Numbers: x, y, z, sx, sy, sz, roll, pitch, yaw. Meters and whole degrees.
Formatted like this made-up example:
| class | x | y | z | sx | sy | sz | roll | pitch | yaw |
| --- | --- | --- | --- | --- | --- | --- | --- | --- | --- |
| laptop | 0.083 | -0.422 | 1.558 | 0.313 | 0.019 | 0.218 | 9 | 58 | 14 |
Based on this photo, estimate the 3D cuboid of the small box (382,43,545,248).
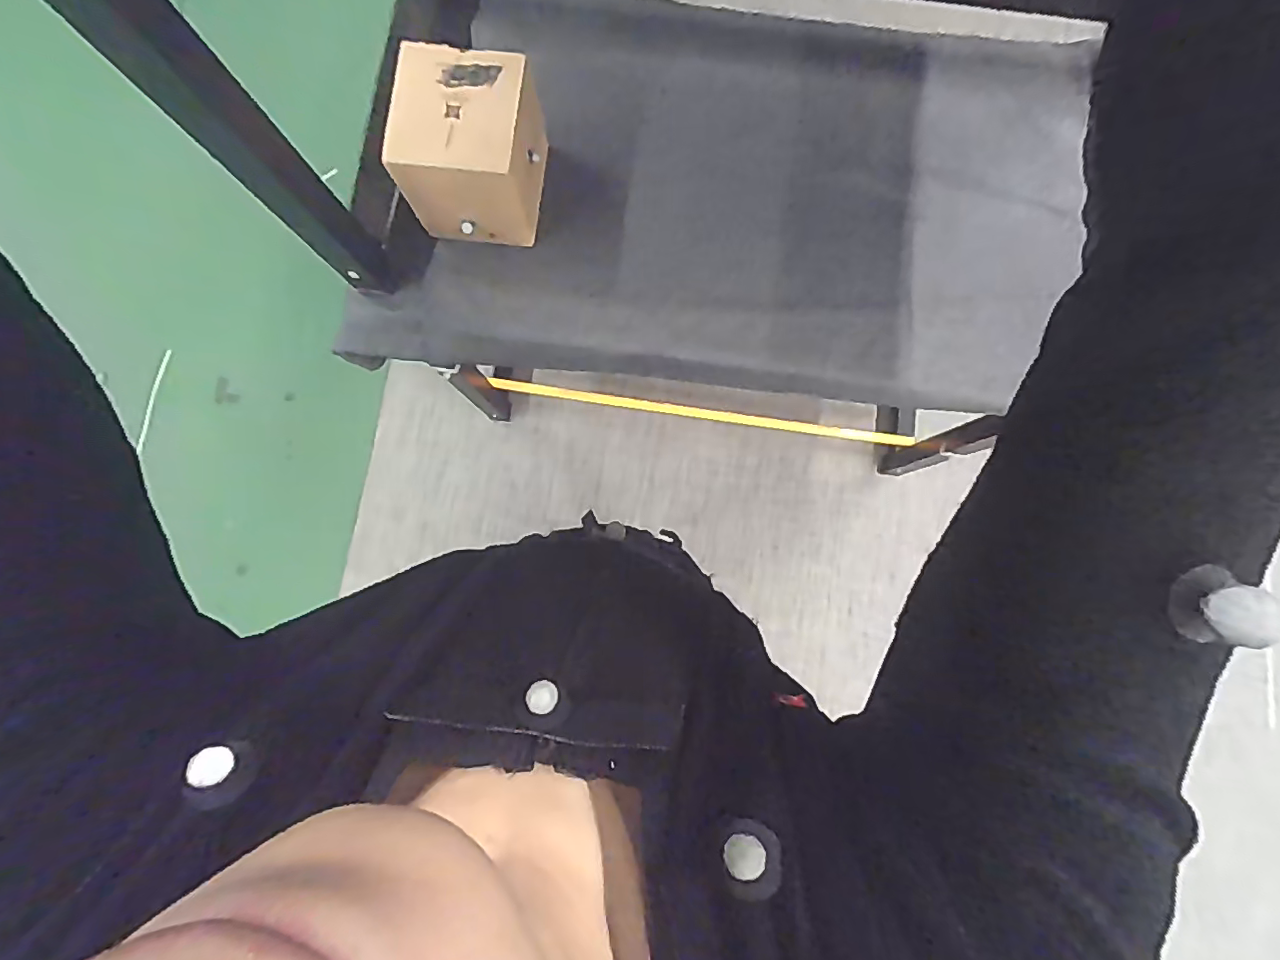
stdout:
| class | x | y | z | sx | sy | sz | roll | pitch | yaw |
| --- | --- | --- | --- | --- | --- | --- | --- | --- | --- |
| small box | -0.235 | -0.463 | 0.769 | 0.168 | 0.176 | 0.179 | 6 | 82 | 1 |
